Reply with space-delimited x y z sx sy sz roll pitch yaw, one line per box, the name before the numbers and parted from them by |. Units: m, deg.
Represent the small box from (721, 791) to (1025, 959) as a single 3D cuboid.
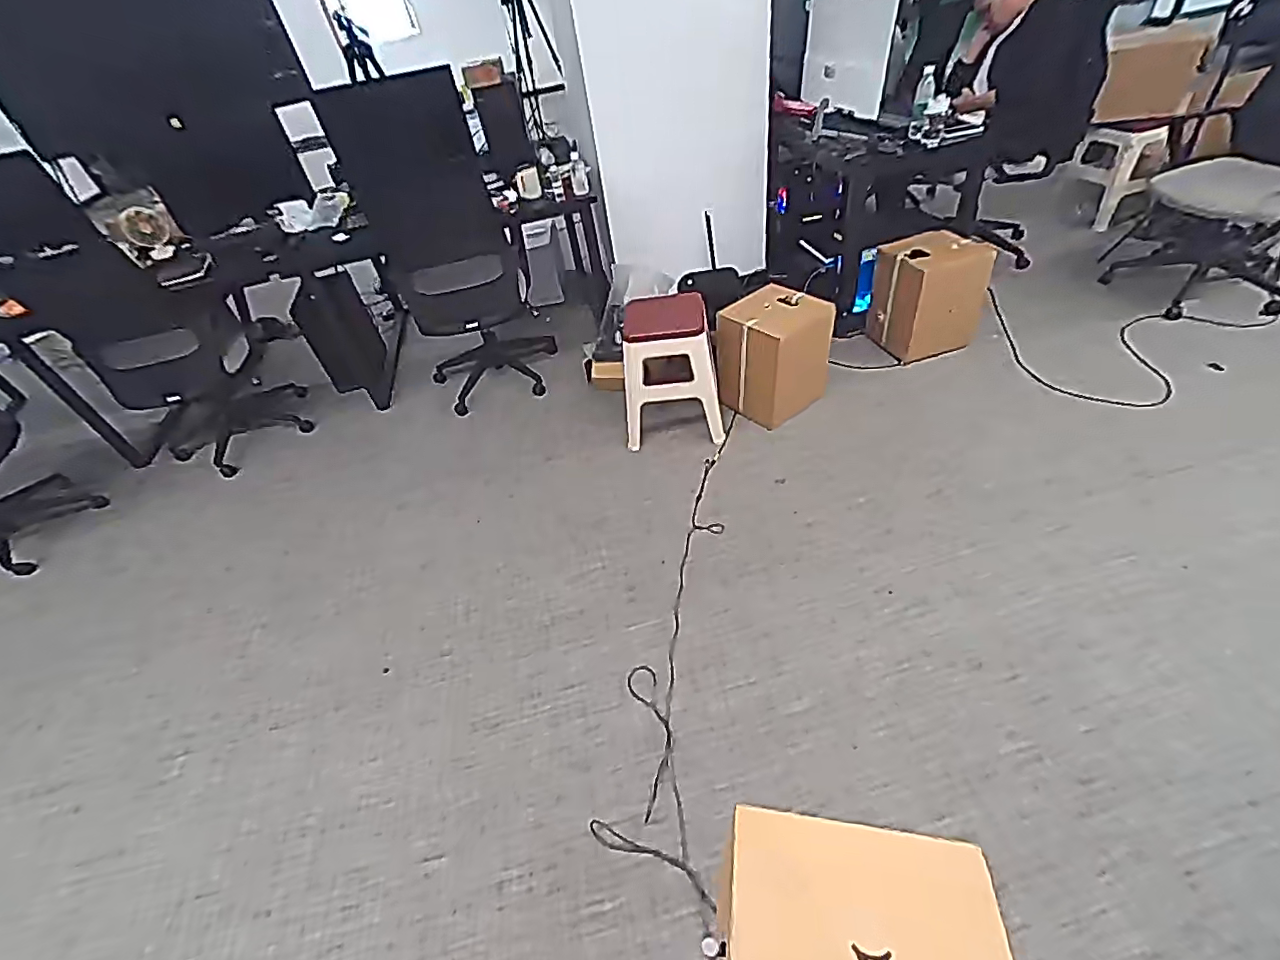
small box | 0.140 0.345 0.358 0.168 0.176 0.179 5 40 9
